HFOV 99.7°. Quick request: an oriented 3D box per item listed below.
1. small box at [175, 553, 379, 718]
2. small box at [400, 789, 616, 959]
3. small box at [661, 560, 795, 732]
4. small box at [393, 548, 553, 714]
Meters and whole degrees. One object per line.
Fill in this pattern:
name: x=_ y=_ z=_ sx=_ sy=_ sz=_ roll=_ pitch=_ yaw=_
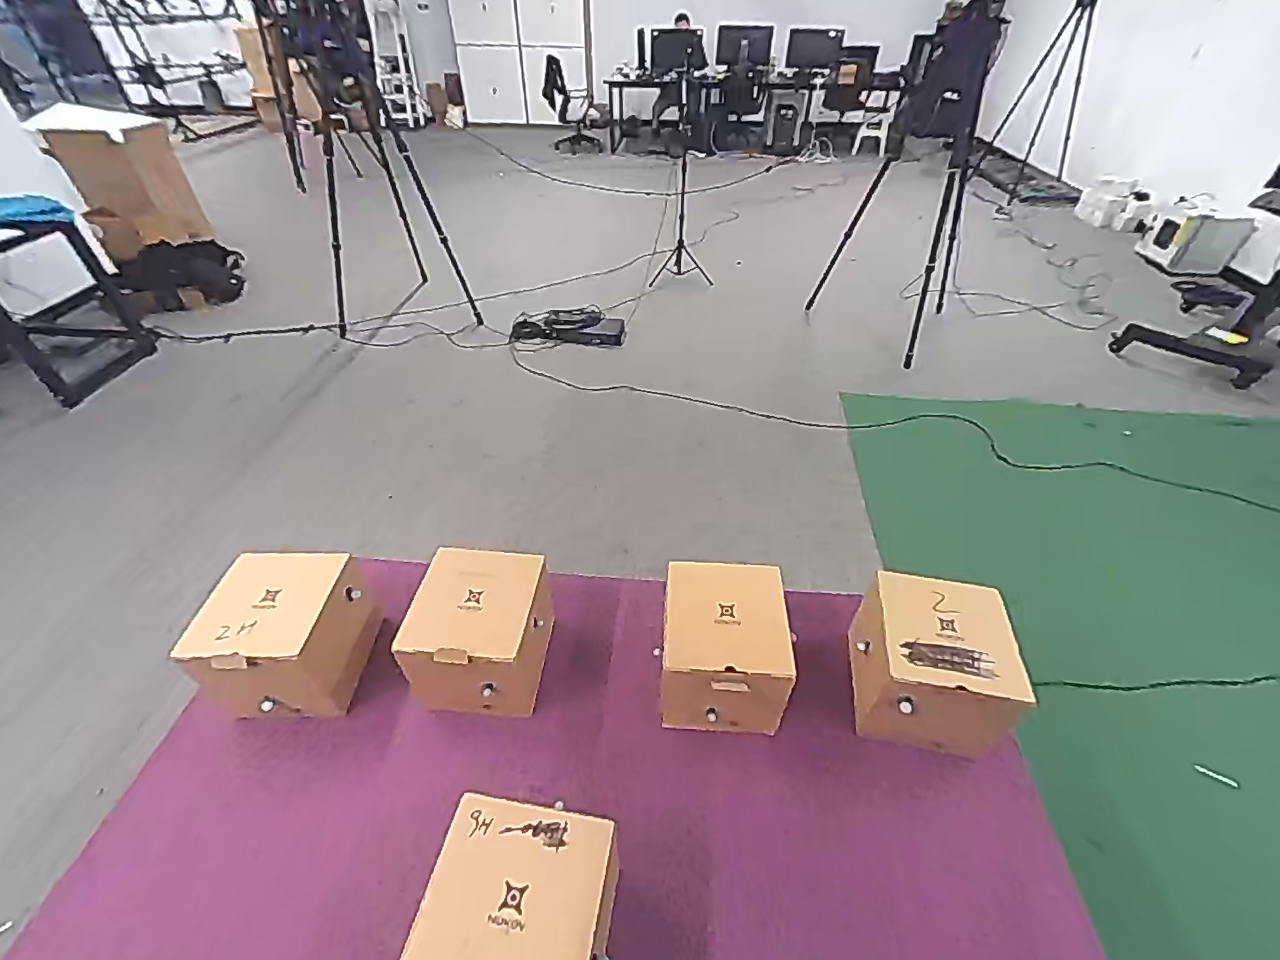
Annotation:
small box: x=-0.513 y=0.228 z=0.803 sx=0.168 sy=0.176 sz=0.179 roll=0 pitch=42 yaw=0
small box: x=-0.120 y=0.453 z=0.553 sx=0.168 sy=0.176 sz=0.179 roll=7 pitch=43 yaw=7
small box: x=0.117 y=0.241 z=0.790 sx=0.168 sy=0.176 sz=0.179 roll=2 pitch=43 yaw=3
small box: x=-0.232 y=0.226 z=0.806 sx=0.168 sy=0.176 sz=0.179 roll=5 pitch=42 yaw=4
